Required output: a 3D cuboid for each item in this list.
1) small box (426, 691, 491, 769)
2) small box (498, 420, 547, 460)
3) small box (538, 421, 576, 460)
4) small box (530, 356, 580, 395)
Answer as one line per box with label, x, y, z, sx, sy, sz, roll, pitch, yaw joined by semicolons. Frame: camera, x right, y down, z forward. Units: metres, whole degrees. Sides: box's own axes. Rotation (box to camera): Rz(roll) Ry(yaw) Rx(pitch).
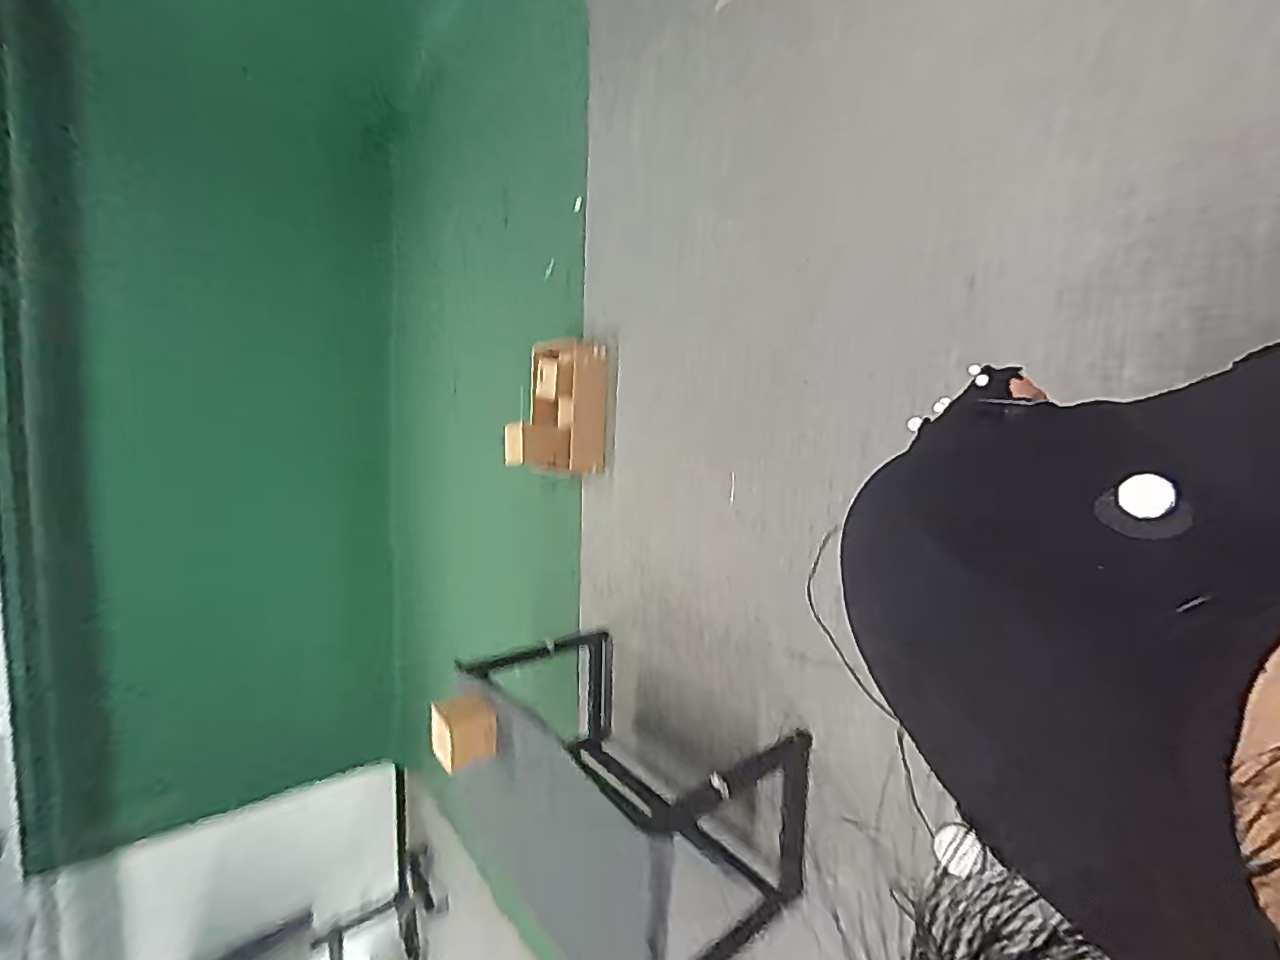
small box;-0.642;0.872;1.906;0.179;0.176;0.168;14;105;47
small box;-0.547;-0.184;2.530;0.168;0.176;0.179;-4;87;47
small box;-0.423;-0.194;2.638;0.168;0.176;0.179;11;101;47
small box;-0.411;-0.503;2.608;0.179;0.176;0.168;19;107;45
